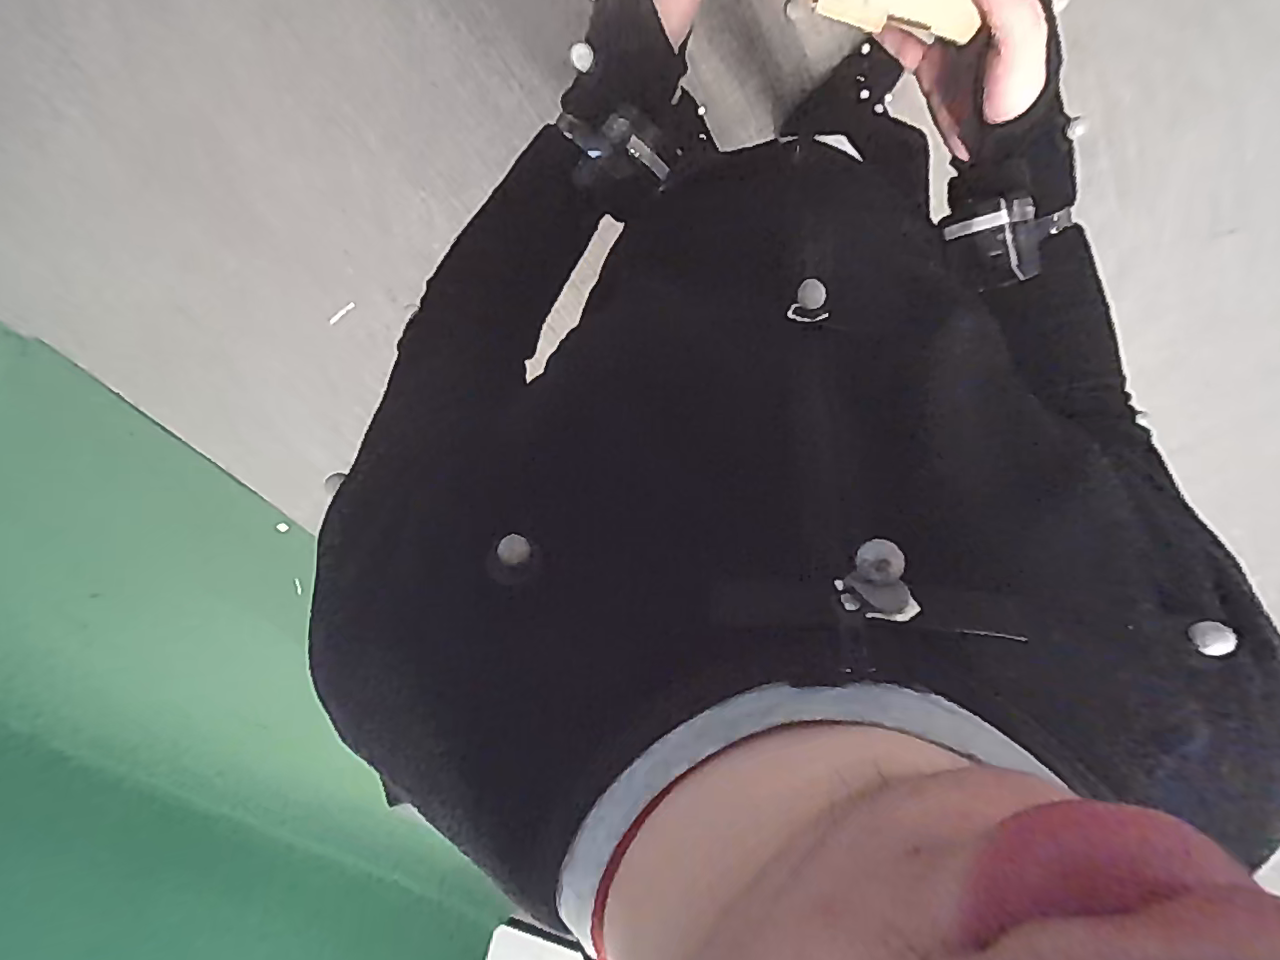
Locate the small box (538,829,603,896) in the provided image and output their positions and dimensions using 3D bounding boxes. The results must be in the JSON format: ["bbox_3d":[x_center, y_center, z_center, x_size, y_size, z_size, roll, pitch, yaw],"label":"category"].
[{"bbox_3d":[-0.257,1.454,2.061,0.179,0.176,0.168,-27,121,25],"label":"small box"}]
